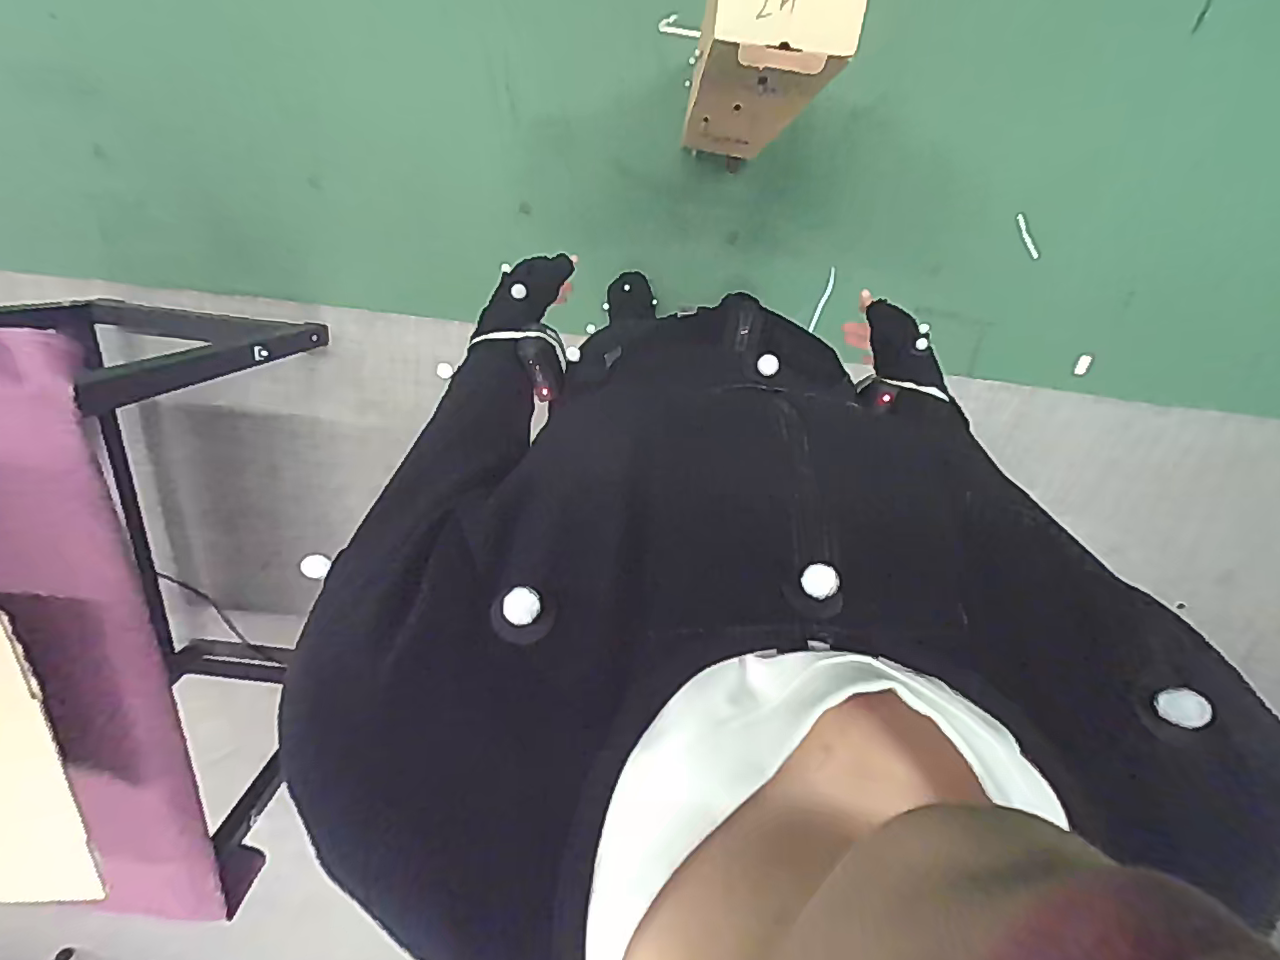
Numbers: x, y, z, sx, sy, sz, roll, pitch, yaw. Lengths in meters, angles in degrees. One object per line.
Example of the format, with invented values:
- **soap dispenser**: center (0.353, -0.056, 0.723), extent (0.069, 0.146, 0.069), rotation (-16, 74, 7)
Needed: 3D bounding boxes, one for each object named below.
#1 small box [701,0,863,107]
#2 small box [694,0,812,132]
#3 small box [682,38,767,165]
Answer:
- **small box**: center (0.173, -0.596, 0.670), extent (0.168, 0.176, 0.179), rotation (6, 112, -2)
- **small box**: center (0.179, -0.659, 0.822), extent (0.168, 0.176, 0.179), rotation (7, 112, -2)
- **small box**: center (0.184, -0.778, 1.128), extent (0.168, 0.176, 0.179), rotation (9, 111, -3)
